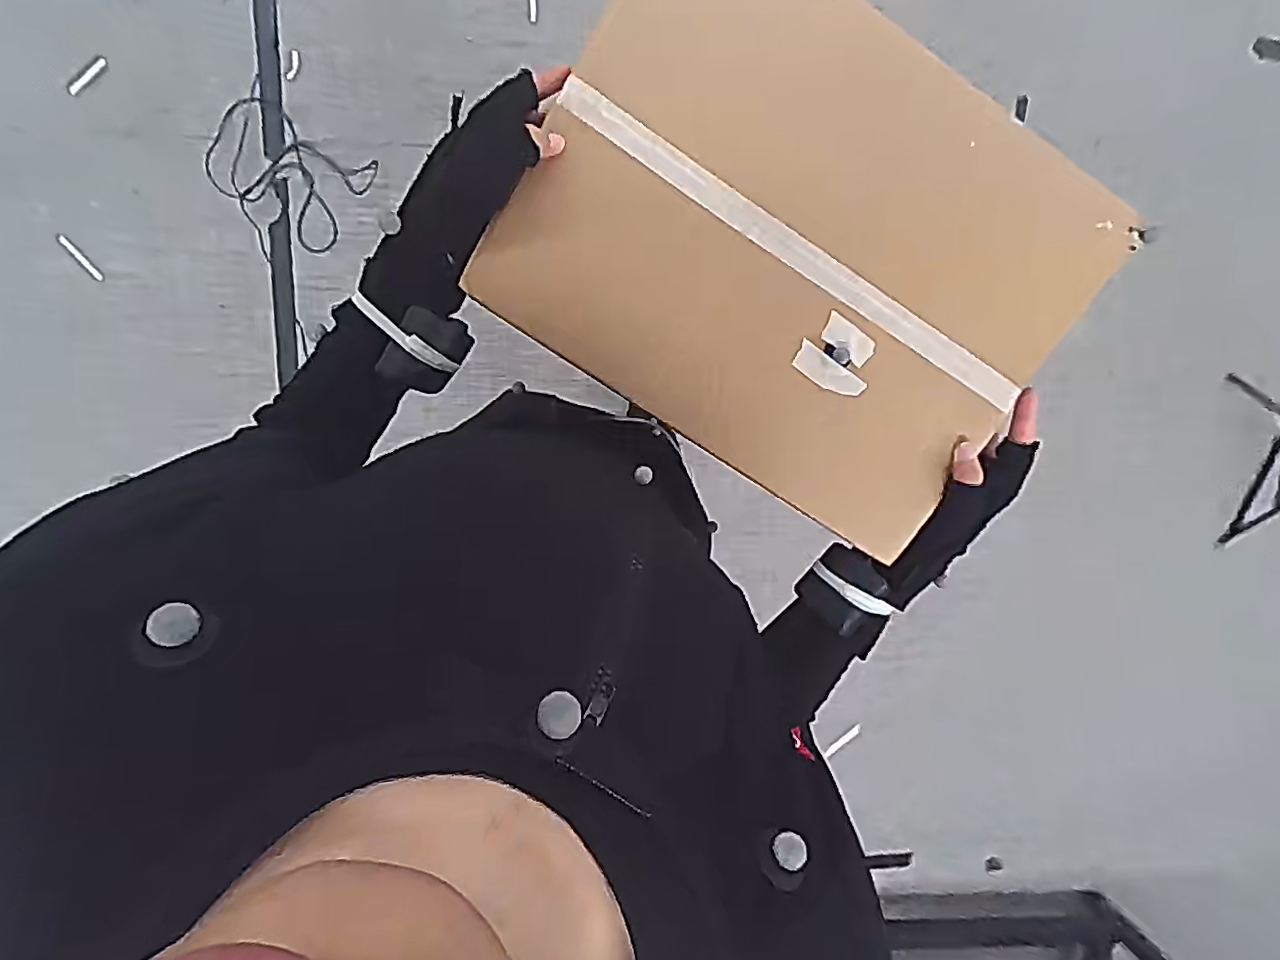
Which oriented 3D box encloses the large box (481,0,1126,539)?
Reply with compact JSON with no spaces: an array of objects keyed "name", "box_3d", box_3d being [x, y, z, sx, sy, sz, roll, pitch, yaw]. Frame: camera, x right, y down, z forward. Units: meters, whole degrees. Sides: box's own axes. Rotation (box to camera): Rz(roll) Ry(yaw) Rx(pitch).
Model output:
[{"name":"large box","box_3d":[0.119,-0.204,0.556,0.408,0.320,0.320,32,100,-7]}]
